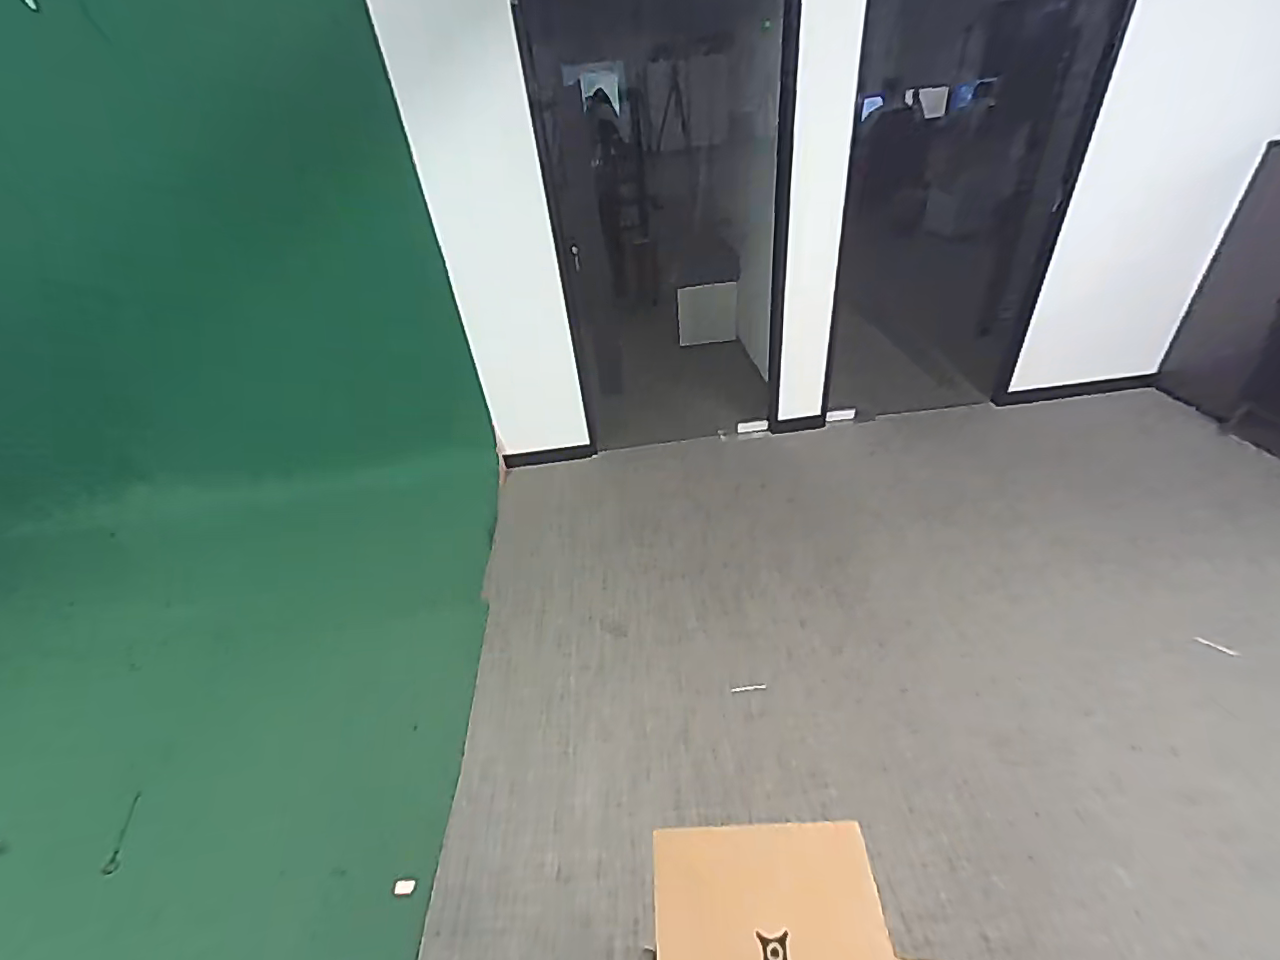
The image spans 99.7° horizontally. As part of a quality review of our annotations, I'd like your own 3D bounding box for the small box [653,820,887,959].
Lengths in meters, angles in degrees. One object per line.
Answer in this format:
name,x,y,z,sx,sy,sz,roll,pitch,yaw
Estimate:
small box,0.097,0.395,0.435,0.168,0.176,0.179,-4,47,3
